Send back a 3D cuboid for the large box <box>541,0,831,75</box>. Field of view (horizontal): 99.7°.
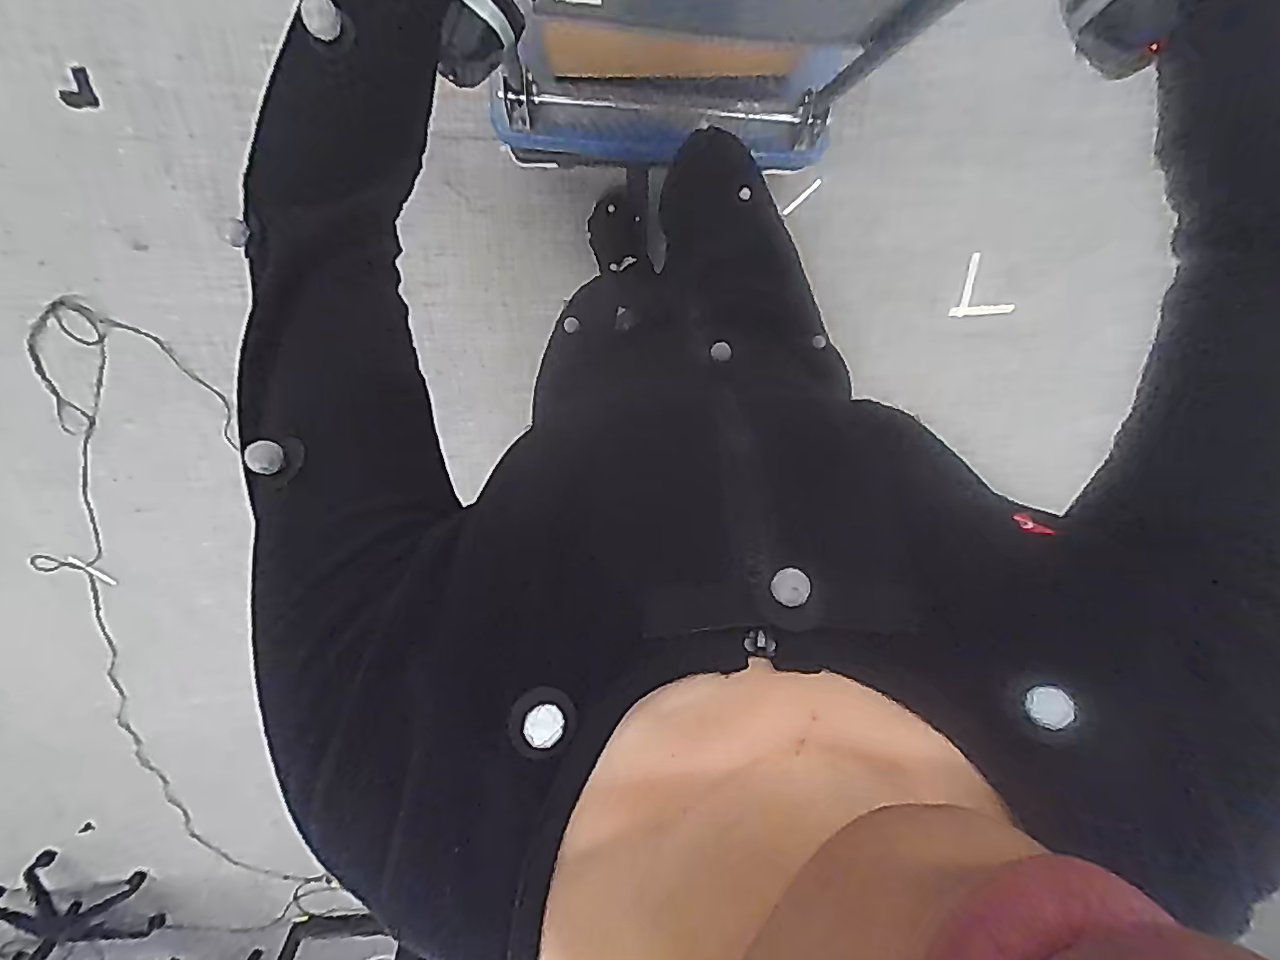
[{"bbox_3d":[0.053,-0.789,0.720,0.408,0.320,0.320,-5,106,-5],"label":"large box"}]
